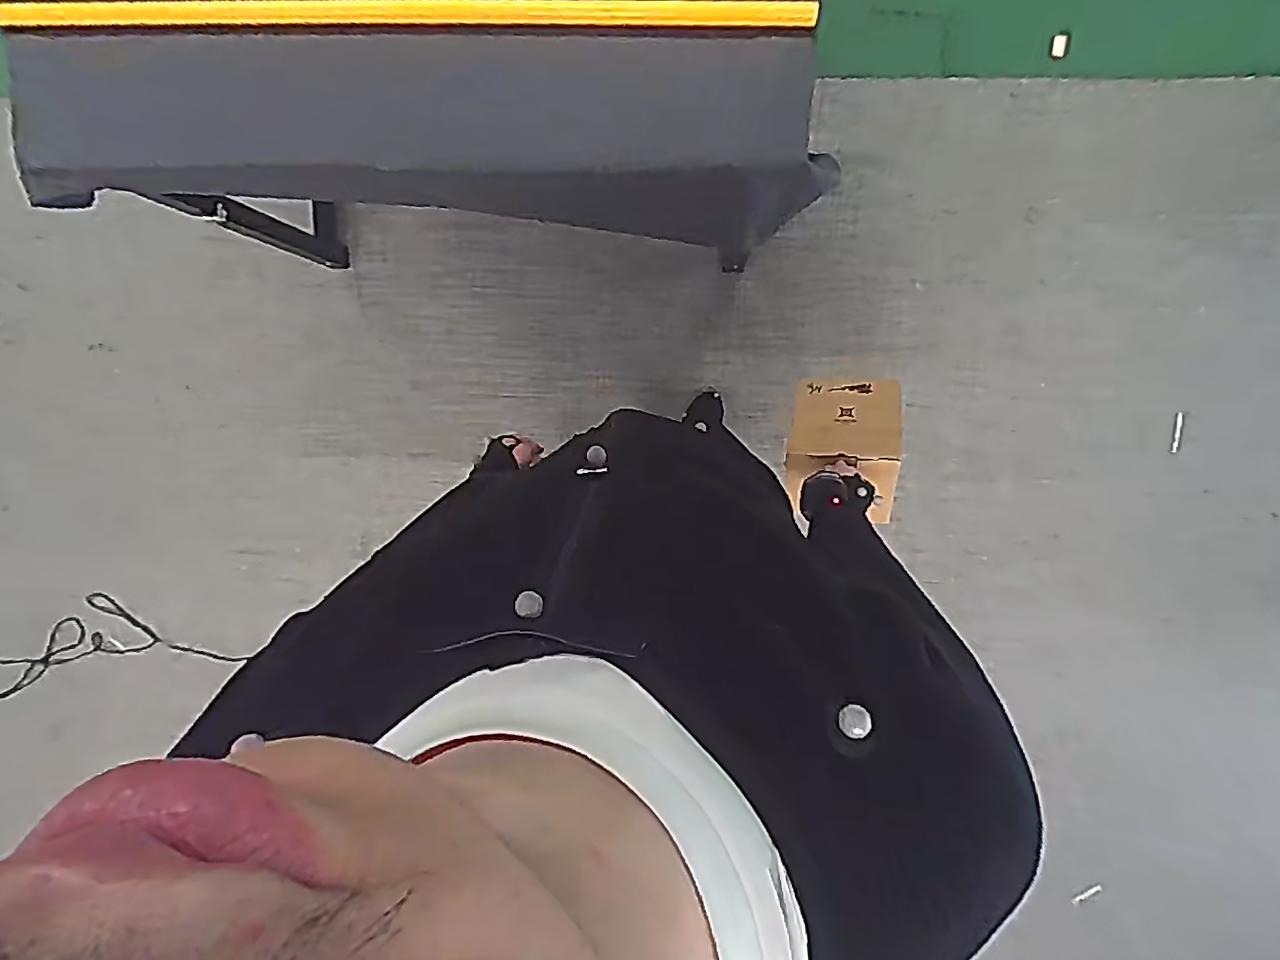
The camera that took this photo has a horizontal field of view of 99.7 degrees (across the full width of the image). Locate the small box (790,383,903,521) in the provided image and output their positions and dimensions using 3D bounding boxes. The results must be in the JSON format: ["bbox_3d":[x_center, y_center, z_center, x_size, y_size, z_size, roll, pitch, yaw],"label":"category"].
[{"bbox_3d":[0.354,-0.046,0.930,0.168,0.179,0.176,4,142,20],"label":"small box"}]
